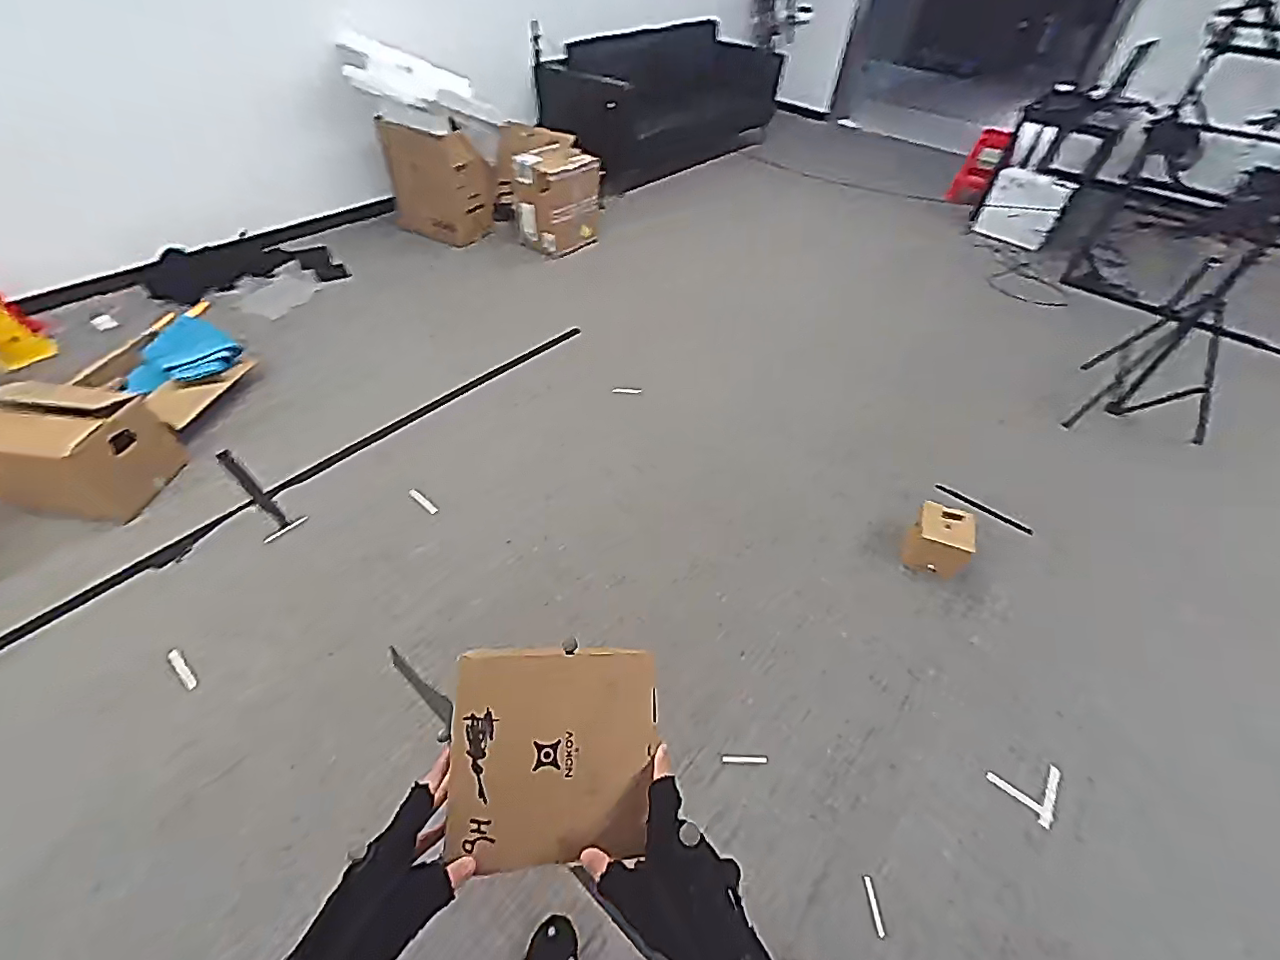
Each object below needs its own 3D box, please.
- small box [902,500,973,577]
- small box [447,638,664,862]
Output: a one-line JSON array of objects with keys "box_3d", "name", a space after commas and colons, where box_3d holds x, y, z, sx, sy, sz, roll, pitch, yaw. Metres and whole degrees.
[{"box_3d": [1.024, 0.203, 1.869, 0.168, 0.176, 0.179, 17, 48, 12], "name": "small box"}, {"box_3d": [-0.083, 0.242, 0.529, 0.179, 0.176, 0.168, 3, 73, -13], "name": "small box"}]
